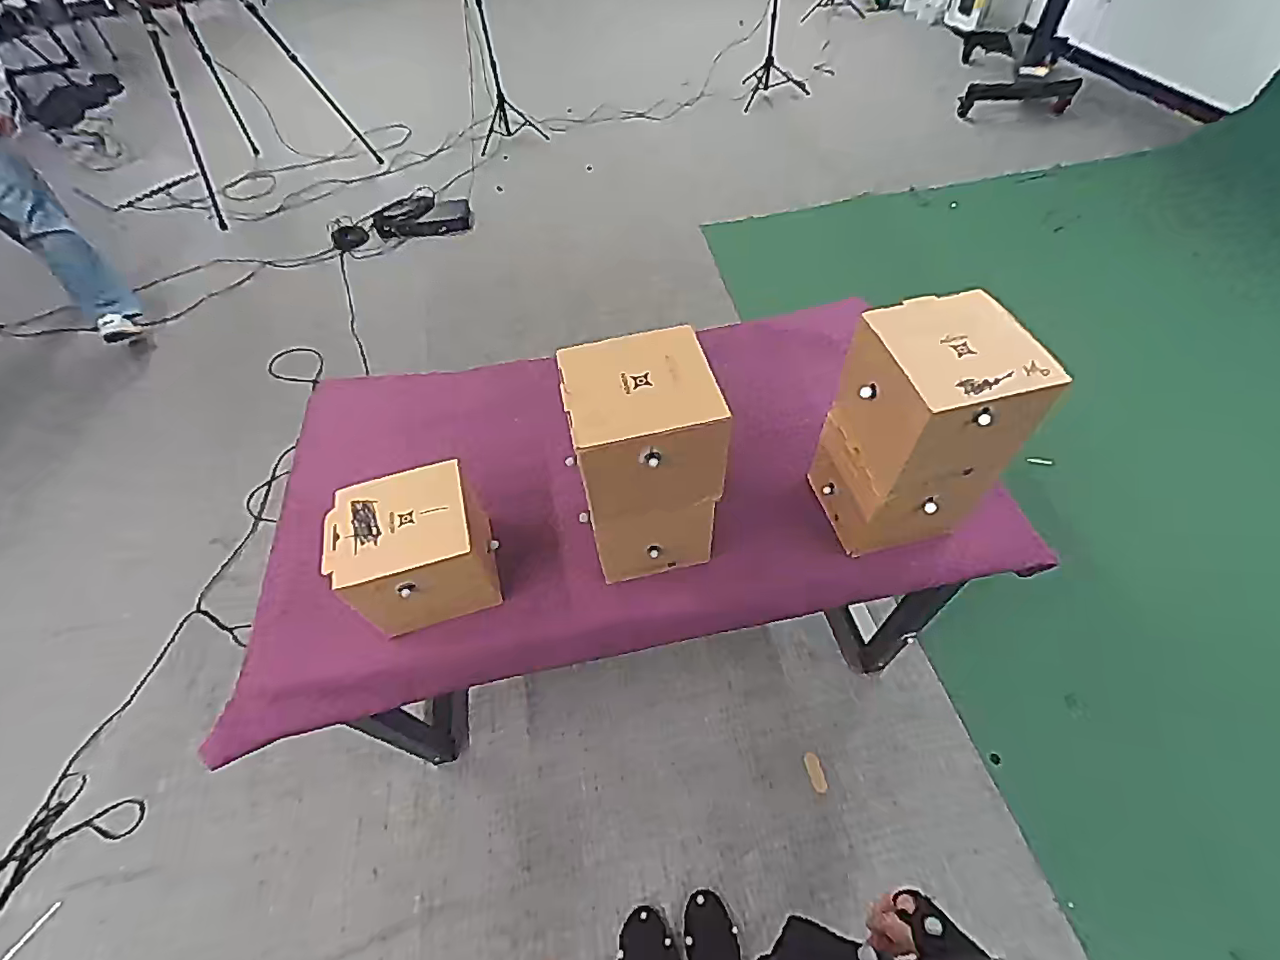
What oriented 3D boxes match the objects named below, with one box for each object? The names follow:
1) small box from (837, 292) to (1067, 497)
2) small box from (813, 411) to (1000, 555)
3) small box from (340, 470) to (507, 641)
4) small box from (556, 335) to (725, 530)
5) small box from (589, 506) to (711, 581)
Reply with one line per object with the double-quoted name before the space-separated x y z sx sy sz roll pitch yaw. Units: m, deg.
"small box" 0.374 -0.106 0.693 0.168 0.176 0.179 -14 54 -2
"small box" 0.387 -0.008 0.824 0.179 0.176 0.168 -14 55 -3
"small box" -0.315 0.118 0.805 0.179 0.176 0.168 -16 54 -8
"small box" 0.002 -0.055 0.695 0.179 0.176 0.168 -12 54 -4
"small box" 0.009 0.039 0.828 0.168 0.176 0.179 -12 52 -4
